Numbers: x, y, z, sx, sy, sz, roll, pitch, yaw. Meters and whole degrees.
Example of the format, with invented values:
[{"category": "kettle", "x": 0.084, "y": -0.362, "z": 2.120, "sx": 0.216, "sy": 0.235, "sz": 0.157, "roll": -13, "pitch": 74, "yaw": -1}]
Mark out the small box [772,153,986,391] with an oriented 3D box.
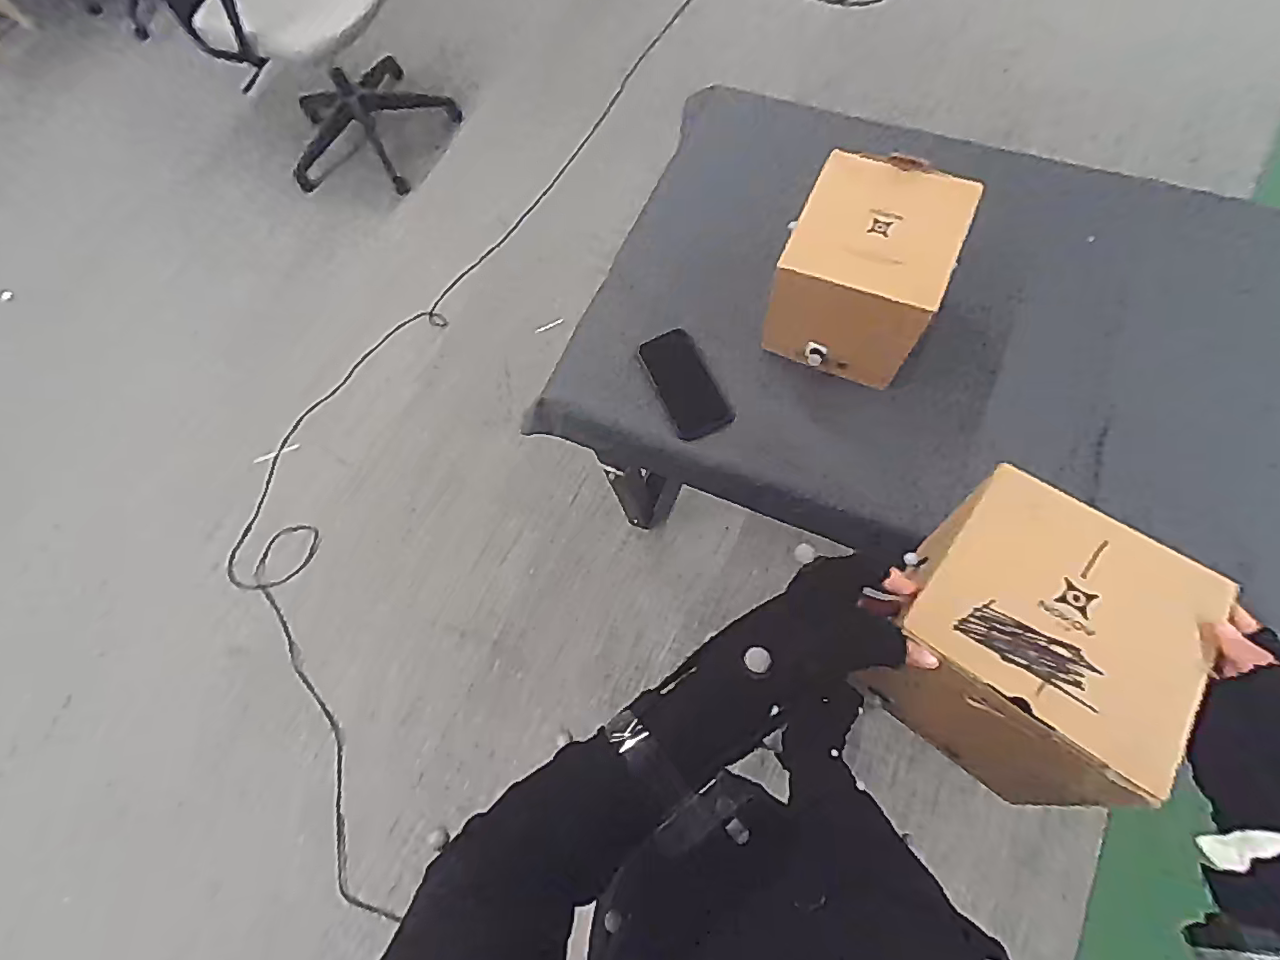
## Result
[{"category": "small box", "x": 0.267, "y": -0.238, "z": 0.644, "sx": 0.168, "sy": 0.176, "sz": 0.179, "roll": 23, "pitch": 76, "yaw": 15}]
